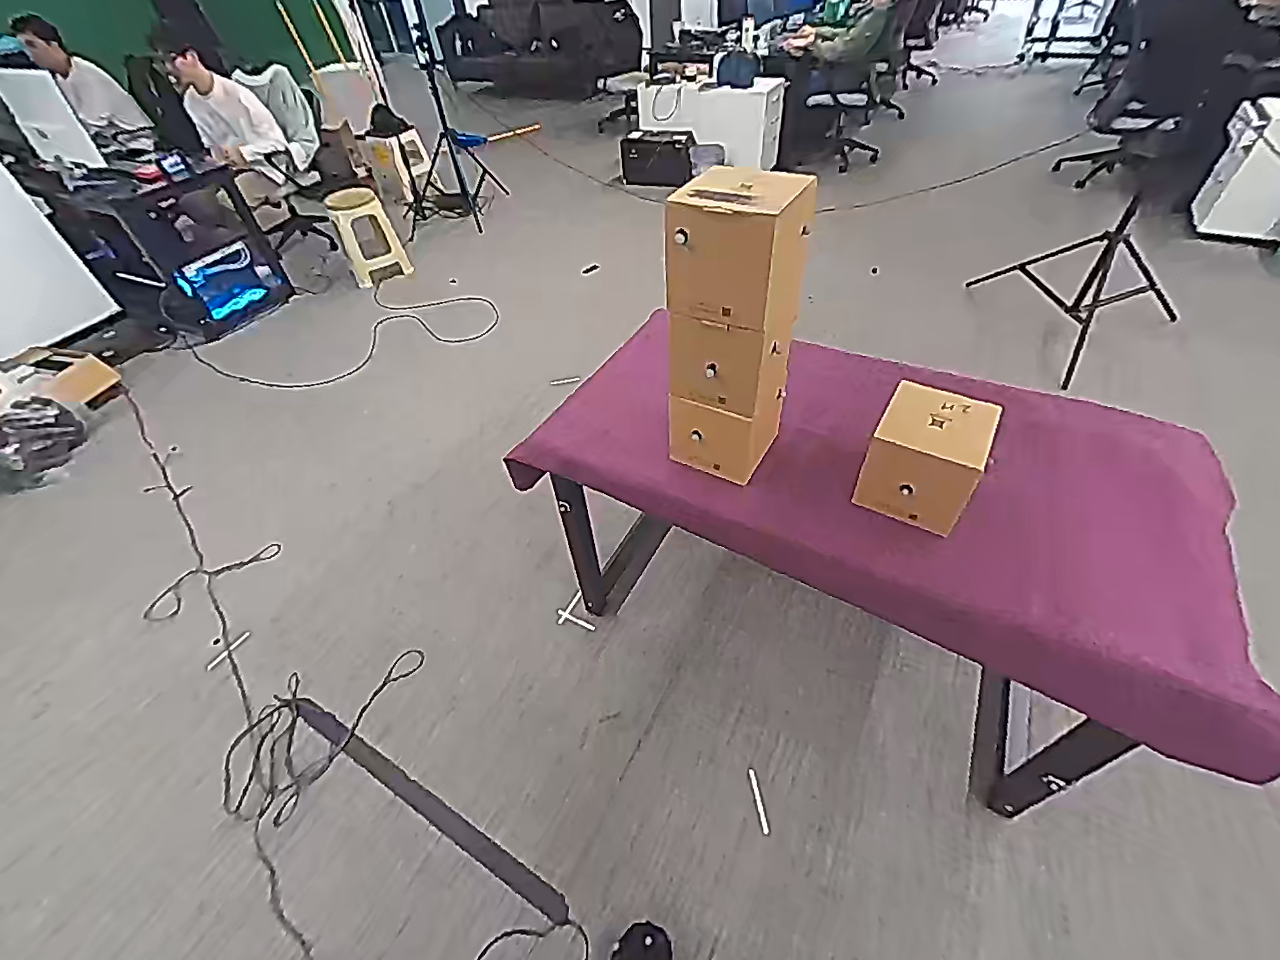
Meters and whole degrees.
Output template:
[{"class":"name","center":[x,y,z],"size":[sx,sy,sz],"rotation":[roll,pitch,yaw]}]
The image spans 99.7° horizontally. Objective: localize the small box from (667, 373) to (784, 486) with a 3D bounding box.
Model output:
[{"class":"small box","center":[0.168,-0.117,1.068],"size":[0.168,0.176,0.179],"rotation":[21,51,23]}]

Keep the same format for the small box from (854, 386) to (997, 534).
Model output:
[{"class":"small box","center":[0.496,-0.034,0.959],"size":[0.168,0.176,0.179],"rotation":[23,52,24]}]

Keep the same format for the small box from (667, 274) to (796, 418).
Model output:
[{"class":"small box","center":[0.160,-0.235,0.955],"size":[0.168,0.176,0.179],"rotation":[20,51,21]}]
